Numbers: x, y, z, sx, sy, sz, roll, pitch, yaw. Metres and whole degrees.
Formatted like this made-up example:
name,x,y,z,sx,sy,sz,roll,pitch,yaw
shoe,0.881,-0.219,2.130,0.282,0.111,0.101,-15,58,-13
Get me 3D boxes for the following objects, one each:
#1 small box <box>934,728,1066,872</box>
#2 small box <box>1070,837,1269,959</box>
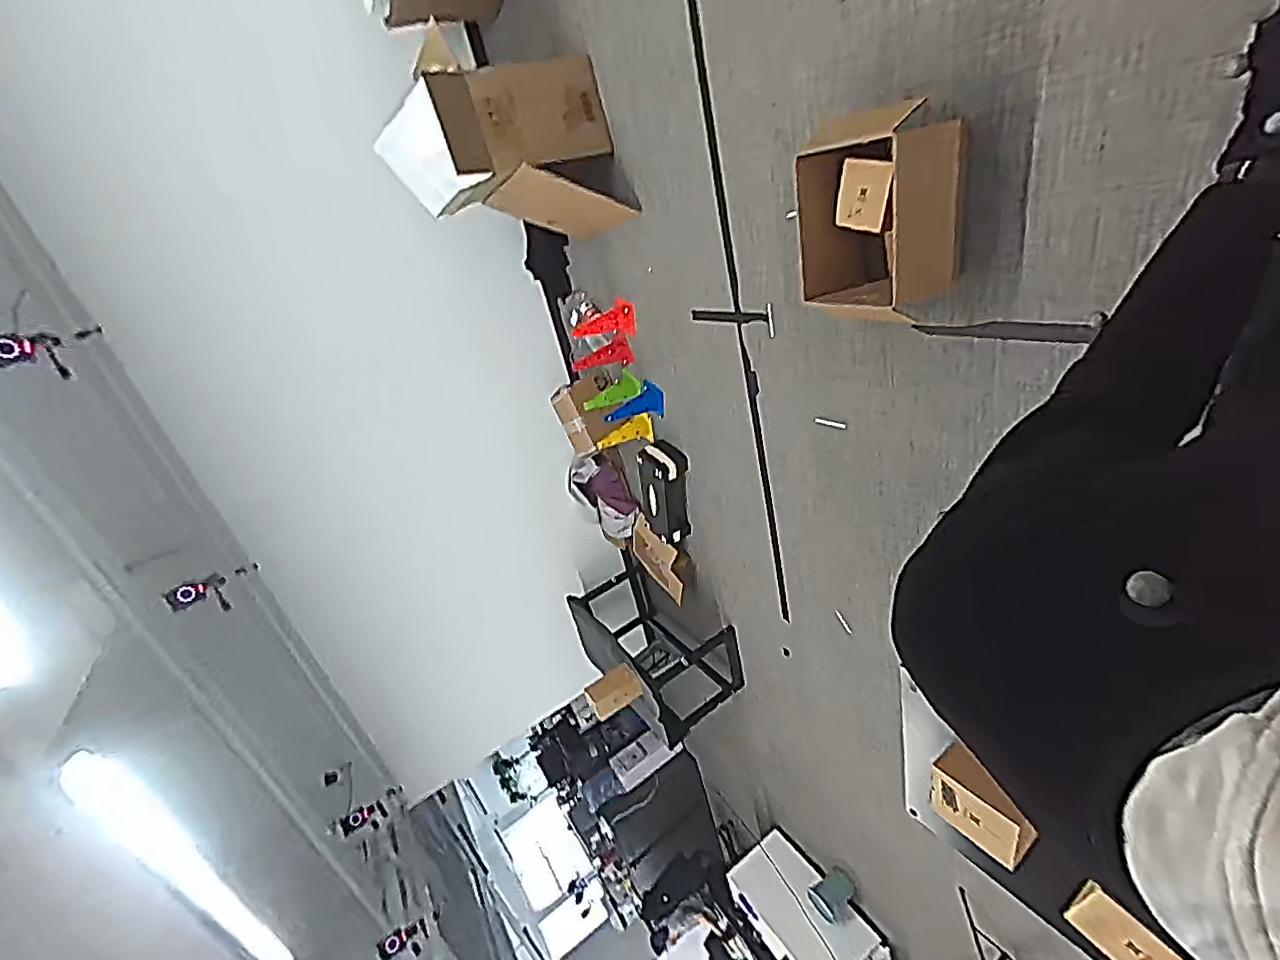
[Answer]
name,x,y,z,sx,sy,sz,roll,pitch,yaw
small box,0.764,0.670,1.159,0.179,0.176,0.168,26,138,52
small box,0.923,0.773,0.952,0.179,0.176,0.168,37,146,43
